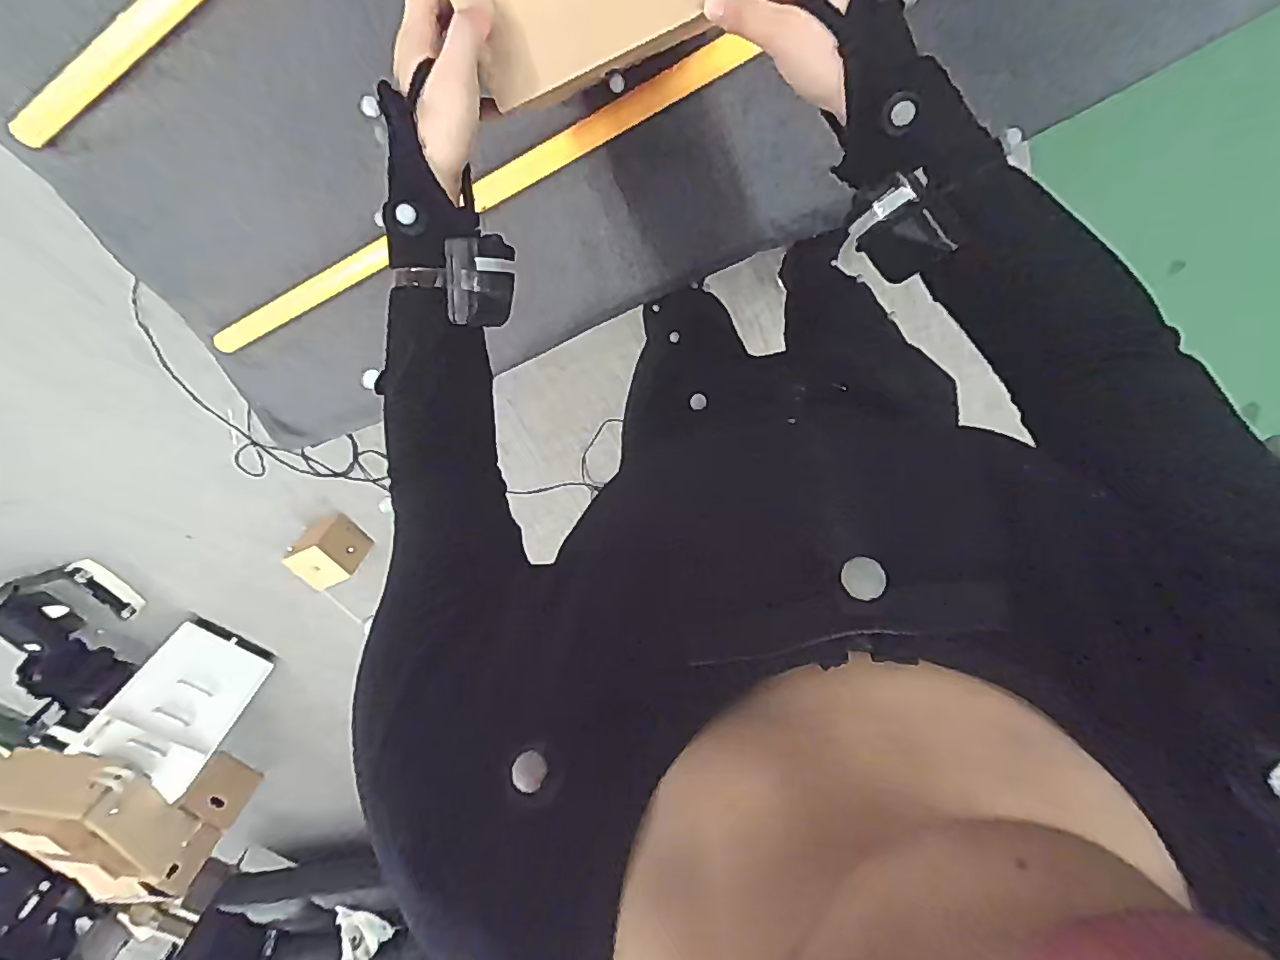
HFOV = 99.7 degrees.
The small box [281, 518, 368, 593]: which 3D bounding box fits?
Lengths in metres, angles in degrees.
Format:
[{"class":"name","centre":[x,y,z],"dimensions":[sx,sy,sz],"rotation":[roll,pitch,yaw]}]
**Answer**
[{"class":"small box","centre":[-1.084,0.258,1.882],"dimensions":[0.179,0.176,0.168],"rotation":[-22,122,20]}]
